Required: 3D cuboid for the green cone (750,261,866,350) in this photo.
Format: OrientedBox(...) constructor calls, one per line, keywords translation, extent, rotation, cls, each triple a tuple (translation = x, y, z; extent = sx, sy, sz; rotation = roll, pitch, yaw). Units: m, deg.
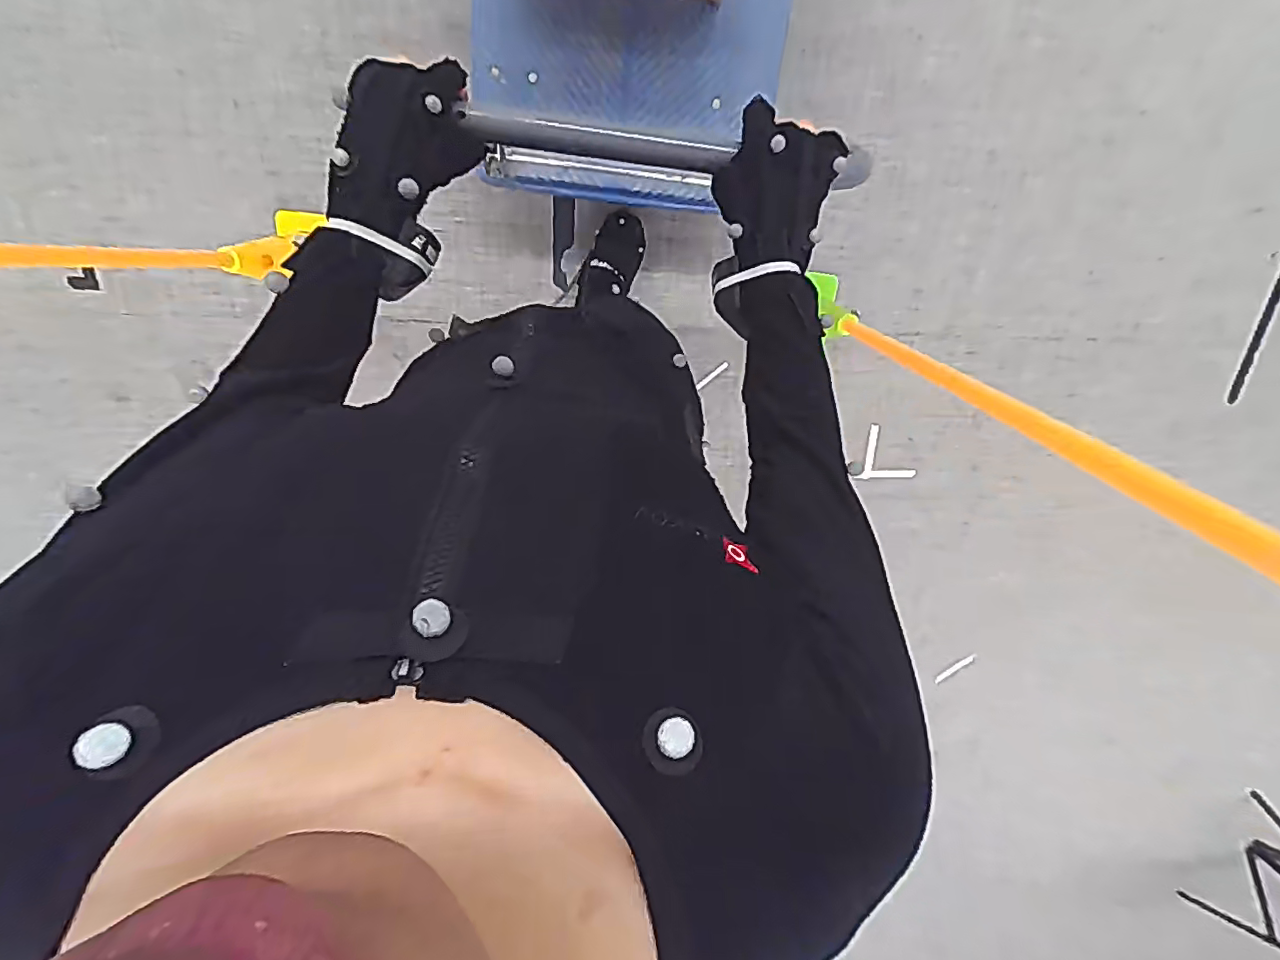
OrientedBox(translation=(0.396, -0.370, 1.196), extent=(0.202, 0.368, 0.200), rotation=(5, 112, -6), cls="green cone")
